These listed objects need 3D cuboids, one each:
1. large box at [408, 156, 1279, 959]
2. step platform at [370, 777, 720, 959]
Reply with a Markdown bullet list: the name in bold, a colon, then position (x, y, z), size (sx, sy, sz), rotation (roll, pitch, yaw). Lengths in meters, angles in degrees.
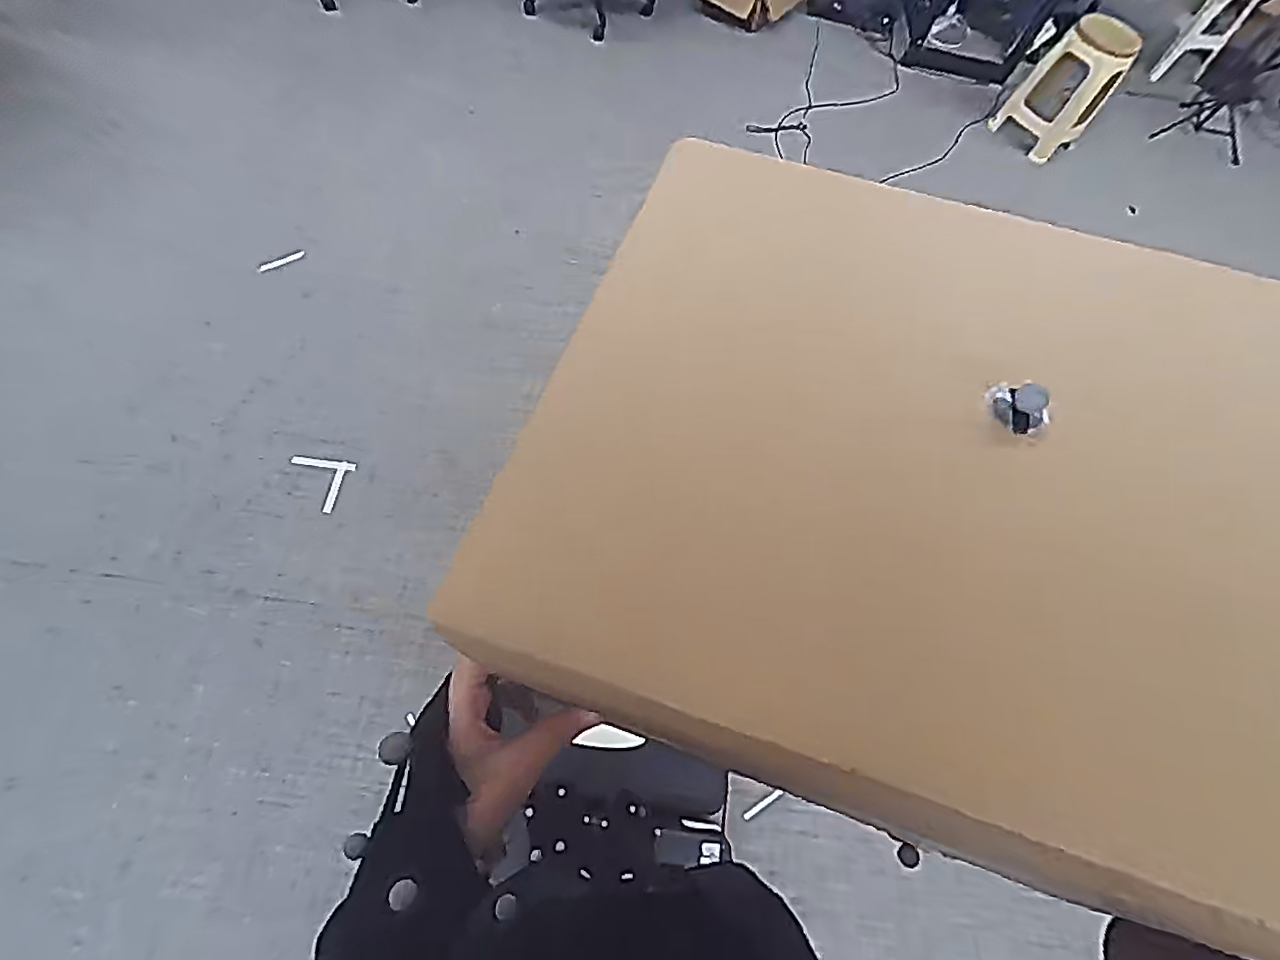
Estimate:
- **large box**: position (0.144, 0.045, 0.368), size (0.408, 0.320, 0.320), rotation (16, 65, 7)
- **step platform**: position (-0.179, 0.852, 1.129), size (0.684, 0.204, 0.286), rotation (14, 64, 0)
